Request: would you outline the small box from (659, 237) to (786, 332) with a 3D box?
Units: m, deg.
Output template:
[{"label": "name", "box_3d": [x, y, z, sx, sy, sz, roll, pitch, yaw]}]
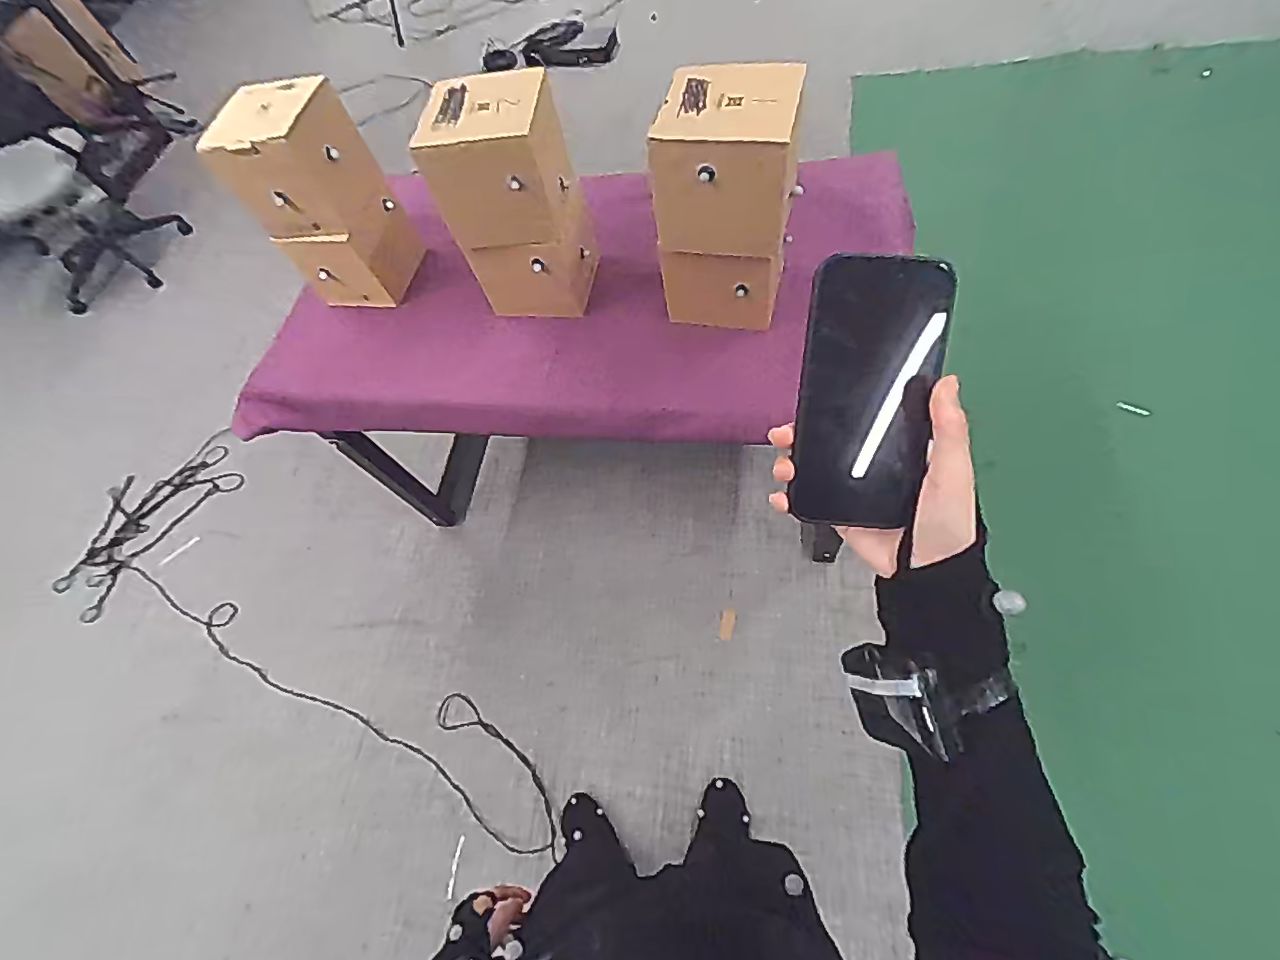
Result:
[{"label": "small box", "box_3d": [0.146, -0.368, 0.903, 0.179, 0.176, 0.168, 11, 64, 16]}]

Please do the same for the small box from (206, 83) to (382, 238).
[{"label": "small box", "box_3d": [-0.584, -0.544, 0.941, 0.168, 0.176, 0.179, 1, 63, 10]}]

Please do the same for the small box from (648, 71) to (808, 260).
[{"label": "small box", "box_3d": [0.125, -0.430, 0.752, 0.179, 0.176, 0.168, 11, 64, 15]}]

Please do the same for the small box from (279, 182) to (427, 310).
[{"label": "small box", "box_3d": [-0.559, -0.460, 1.081, 0.168, 0.176, 0.179, 6, 63, 13]}]

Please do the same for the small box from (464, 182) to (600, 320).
[{"label": "small box", "box_3d": [-0.183, -0.410, 0.984, 0.179, 0.176, 0.168, 5, 63, 13]}]
